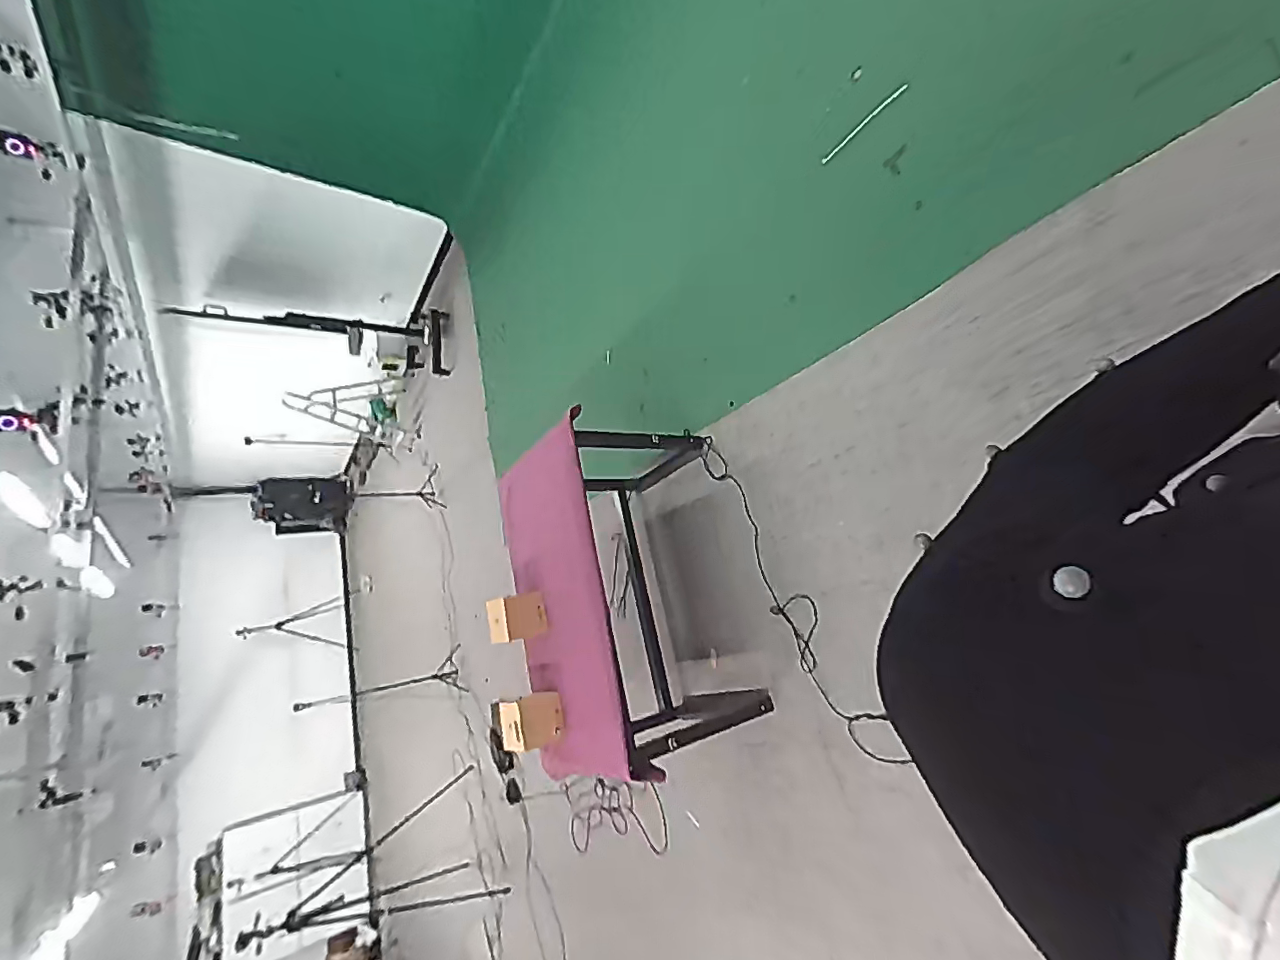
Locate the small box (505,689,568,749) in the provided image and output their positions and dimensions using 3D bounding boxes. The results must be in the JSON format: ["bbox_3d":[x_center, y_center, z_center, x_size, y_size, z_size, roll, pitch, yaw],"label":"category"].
[{"bbox_3d":[-0.378,0.883,2.009,0.179,0.176,0.168,-29,69,49],"label":"small box"}]

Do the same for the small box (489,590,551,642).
[{"bbox_3d":[-0.468,0.531,2.110,0.179,0.176,0.168,-26,72,49],"label":"small box"}]
